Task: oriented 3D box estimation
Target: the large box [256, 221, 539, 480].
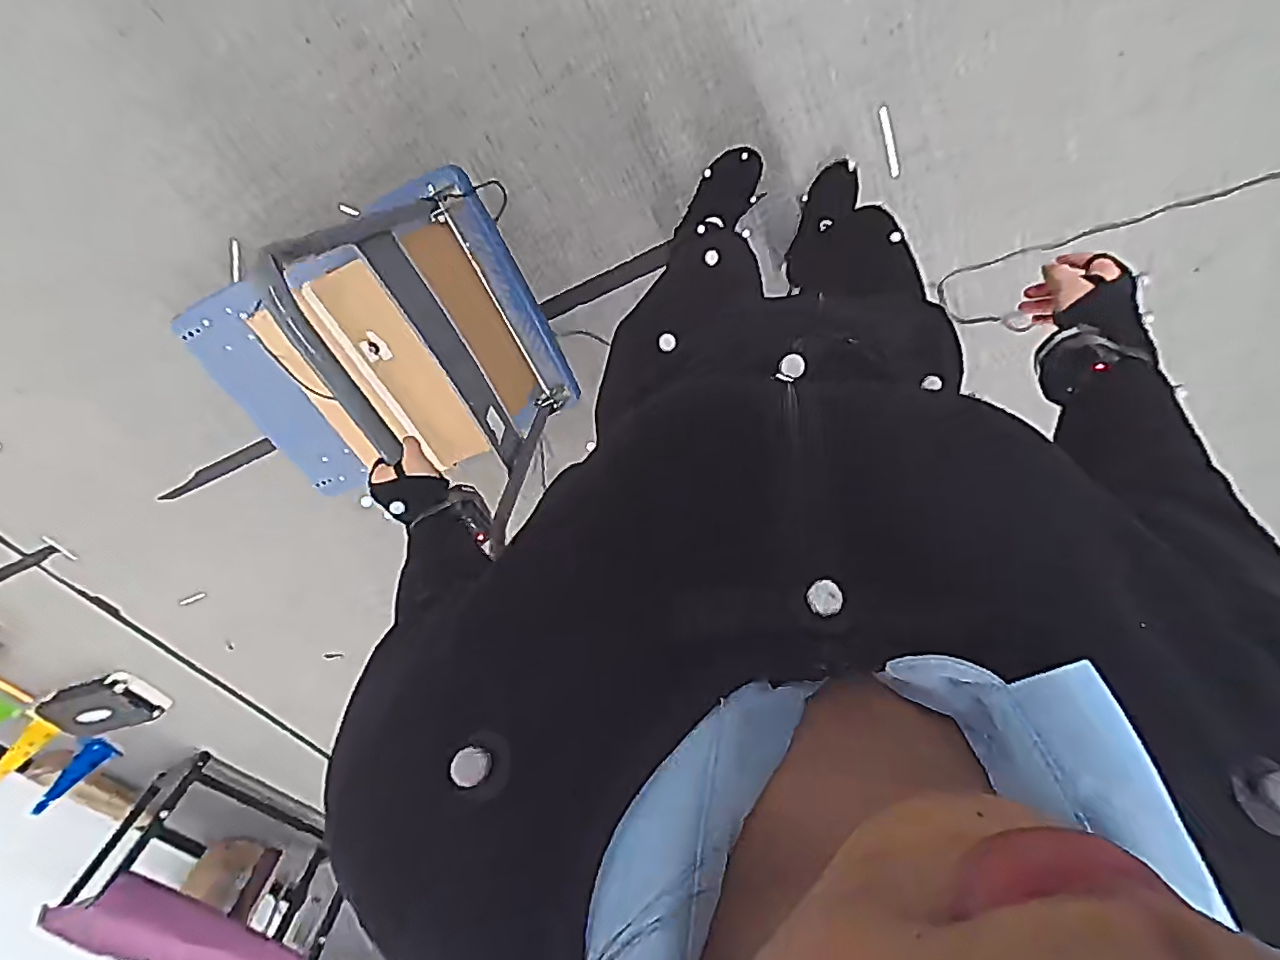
[{"bbox_3d":[-0.476,-0.275,1.166,0.320,0.320,0.408,-17,120,16],"label":"large box"}]
